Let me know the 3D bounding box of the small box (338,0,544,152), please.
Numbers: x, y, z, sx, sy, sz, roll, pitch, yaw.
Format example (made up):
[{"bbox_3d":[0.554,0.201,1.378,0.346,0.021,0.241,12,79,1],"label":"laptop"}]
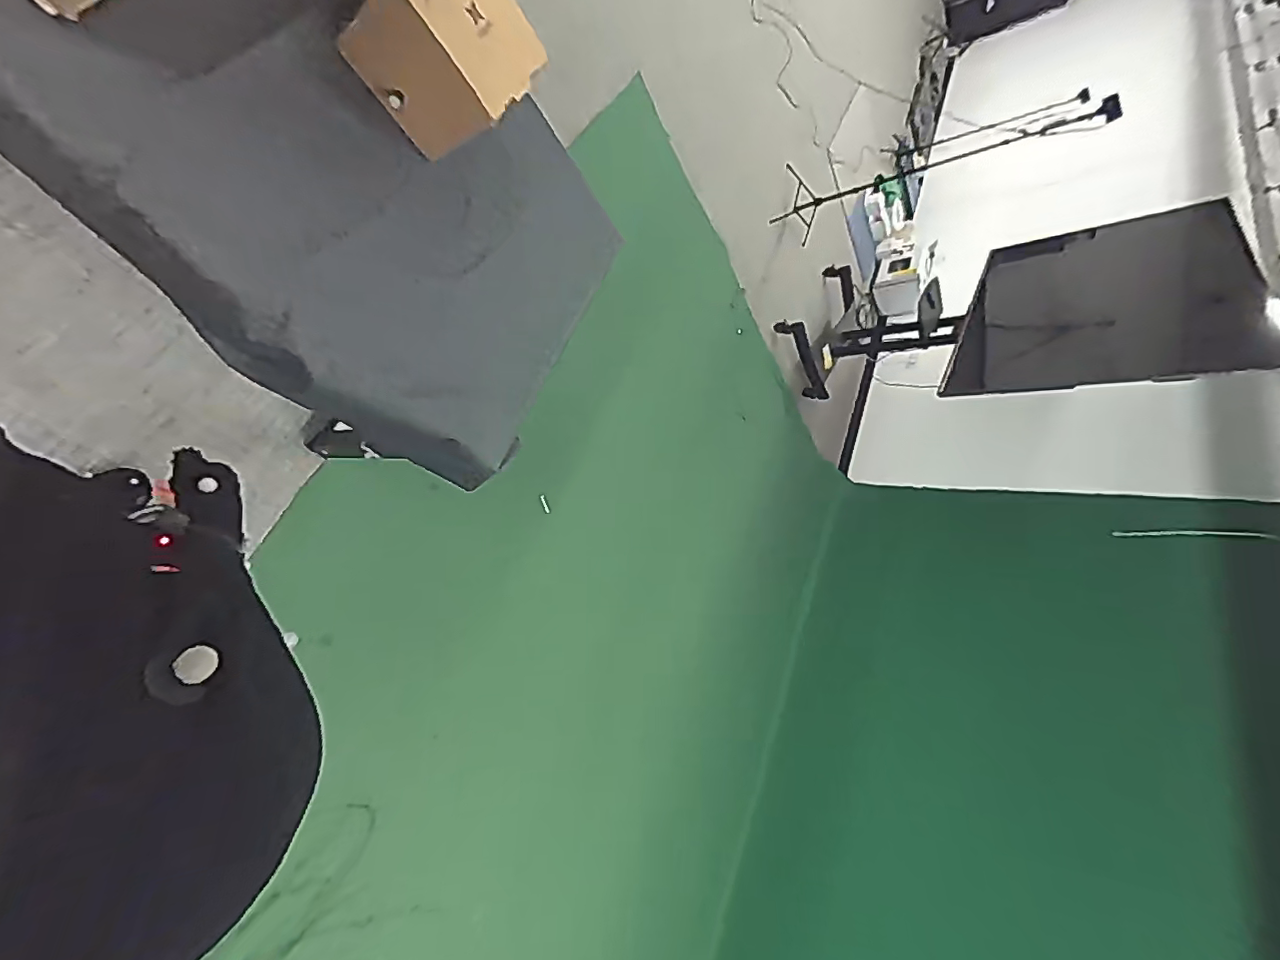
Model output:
[{"bbox_3d":[-0.277,-0.599,0.762,0.179,0.176,0.168,46,58,-41],"label":"small box"}]
